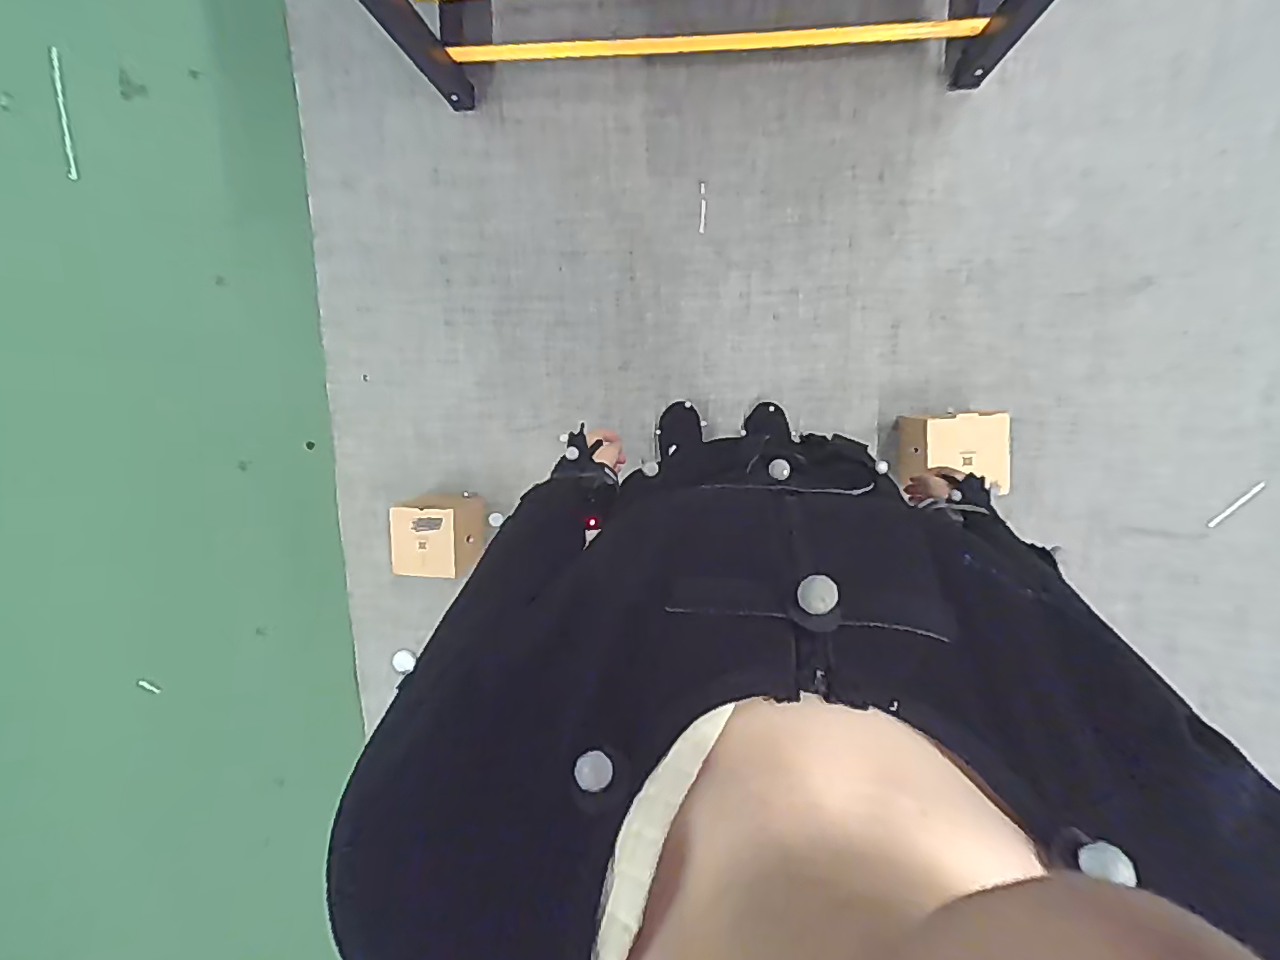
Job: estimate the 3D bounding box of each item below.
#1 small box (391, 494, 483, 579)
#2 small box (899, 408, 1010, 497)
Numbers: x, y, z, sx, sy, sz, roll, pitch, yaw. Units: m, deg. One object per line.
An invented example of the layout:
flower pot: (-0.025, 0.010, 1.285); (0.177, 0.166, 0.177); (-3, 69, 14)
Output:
small box: (-0.510, 0.136, 1.378); (0.168, 0.176, 0.179); (3, 100, 7)
small box: (0.693, -0.065, 1.207); (0.168, 0.176, 0.179); (-5, 97, 7)
